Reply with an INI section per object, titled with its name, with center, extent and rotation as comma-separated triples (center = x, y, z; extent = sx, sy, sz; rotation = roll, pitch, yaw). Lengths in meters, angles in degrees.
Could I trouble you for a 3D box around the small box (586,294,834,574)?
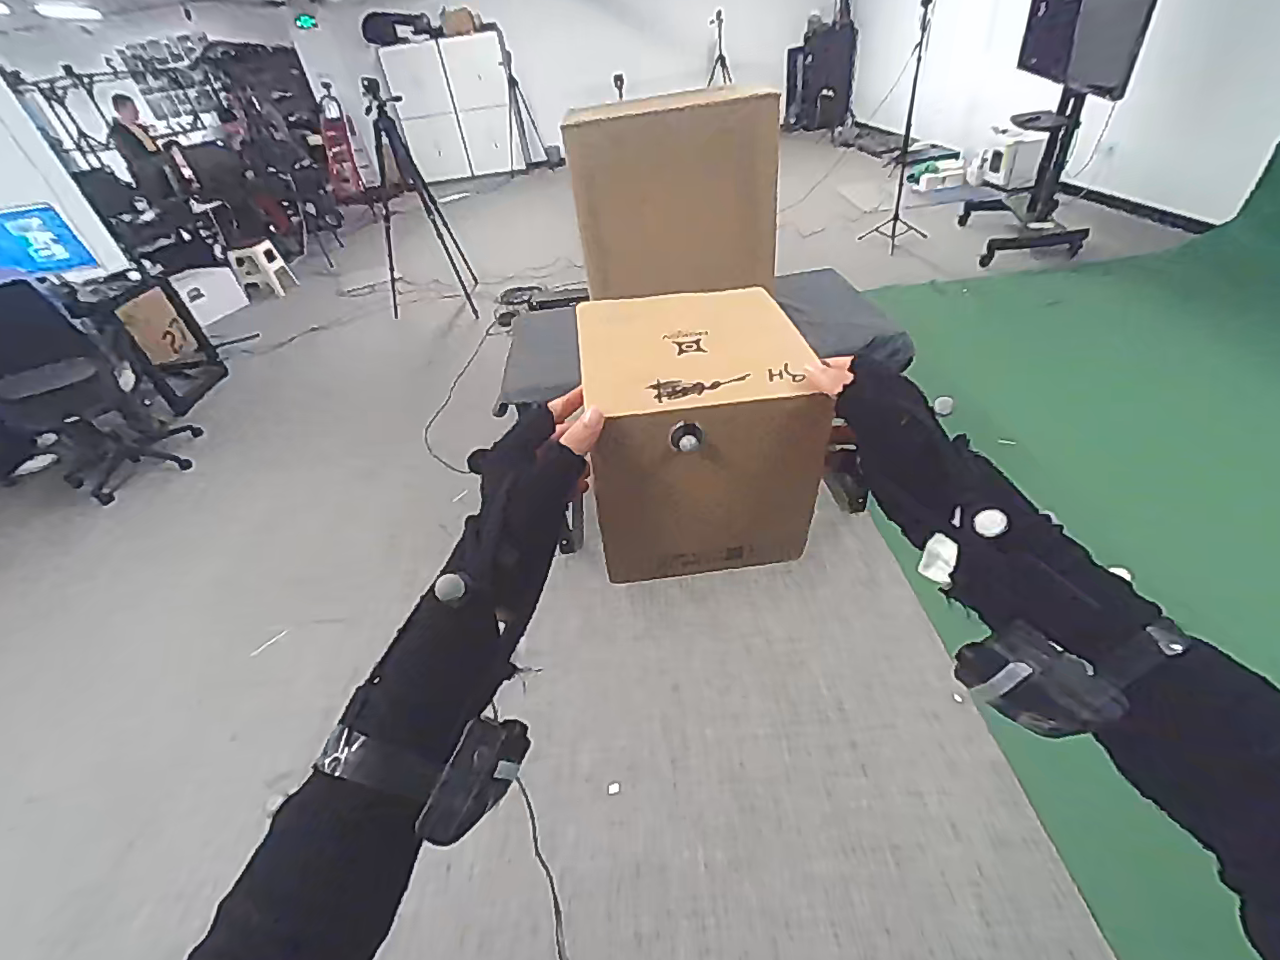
[small box]
center = 0.044, -0.044, 0.471
extent = 0.168, 0.176, 0.179
rotation = -7, 41, -3
